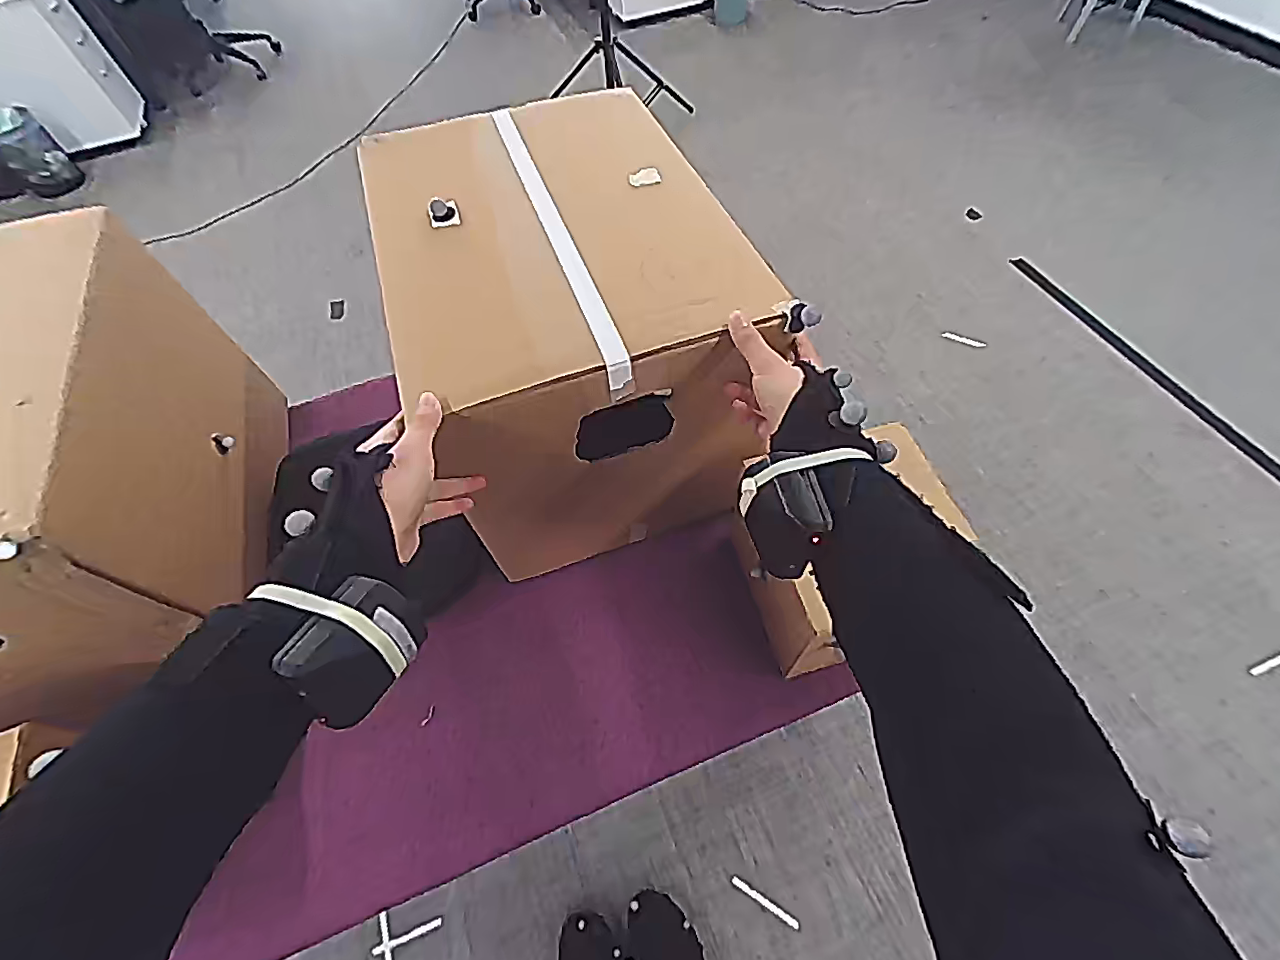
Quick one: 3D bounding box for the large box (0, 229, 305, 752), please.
[{"bbox_3d":[-0.609,0.018,0.576,0.320,0.320,0.408,-20,62,-8],"label":"large box"}]
